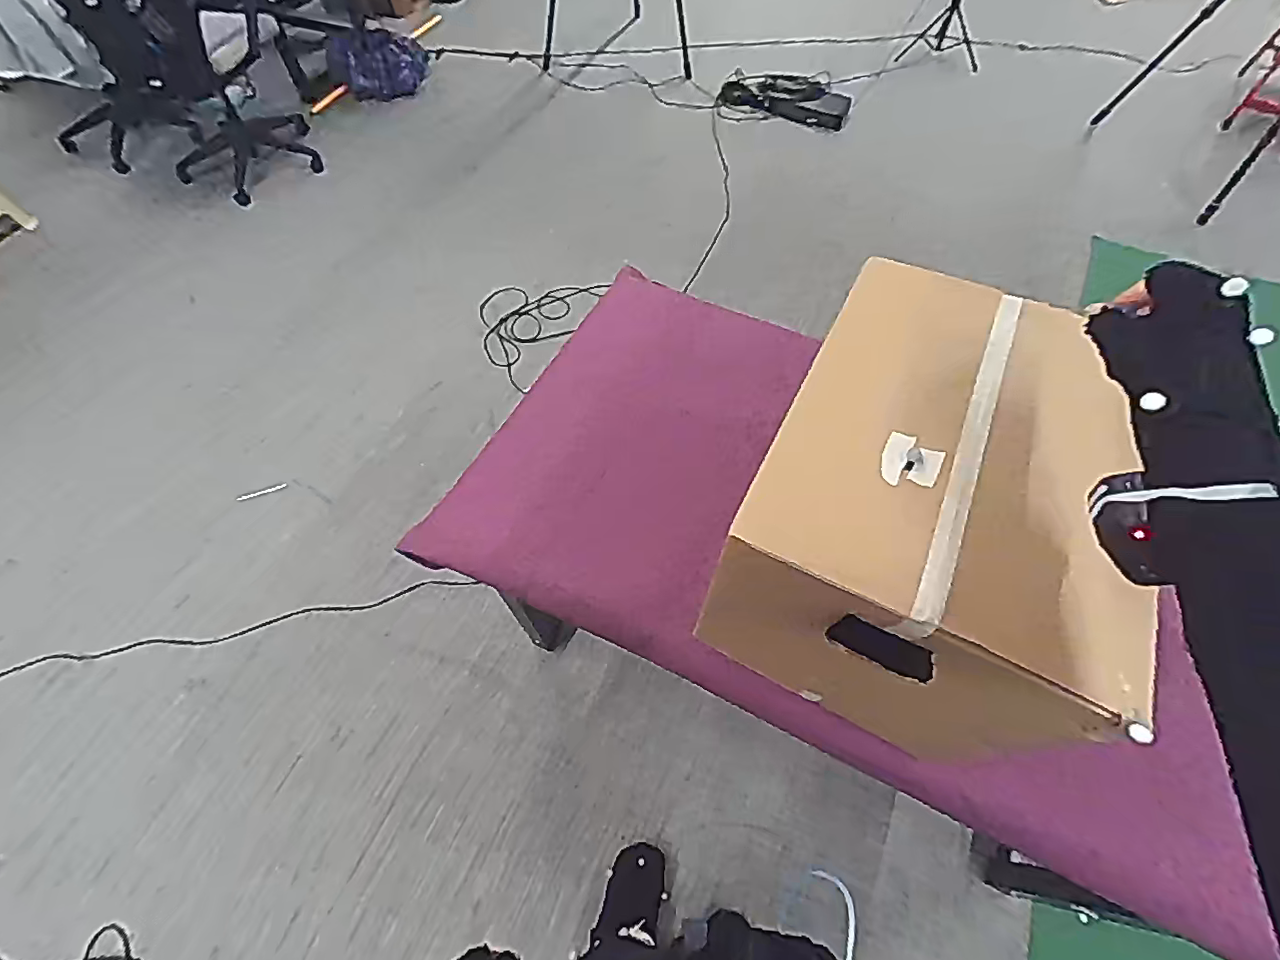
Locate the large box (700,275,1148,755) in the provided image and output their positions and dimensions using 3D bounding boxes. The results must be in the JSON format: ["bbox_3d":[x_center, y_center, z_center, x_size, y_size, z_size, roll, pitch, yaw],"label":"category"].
[{"bbox_3d":[0.302,0.045,0.638,0.320,0.320,0.408,25,63,15],"label":"large box"}]
